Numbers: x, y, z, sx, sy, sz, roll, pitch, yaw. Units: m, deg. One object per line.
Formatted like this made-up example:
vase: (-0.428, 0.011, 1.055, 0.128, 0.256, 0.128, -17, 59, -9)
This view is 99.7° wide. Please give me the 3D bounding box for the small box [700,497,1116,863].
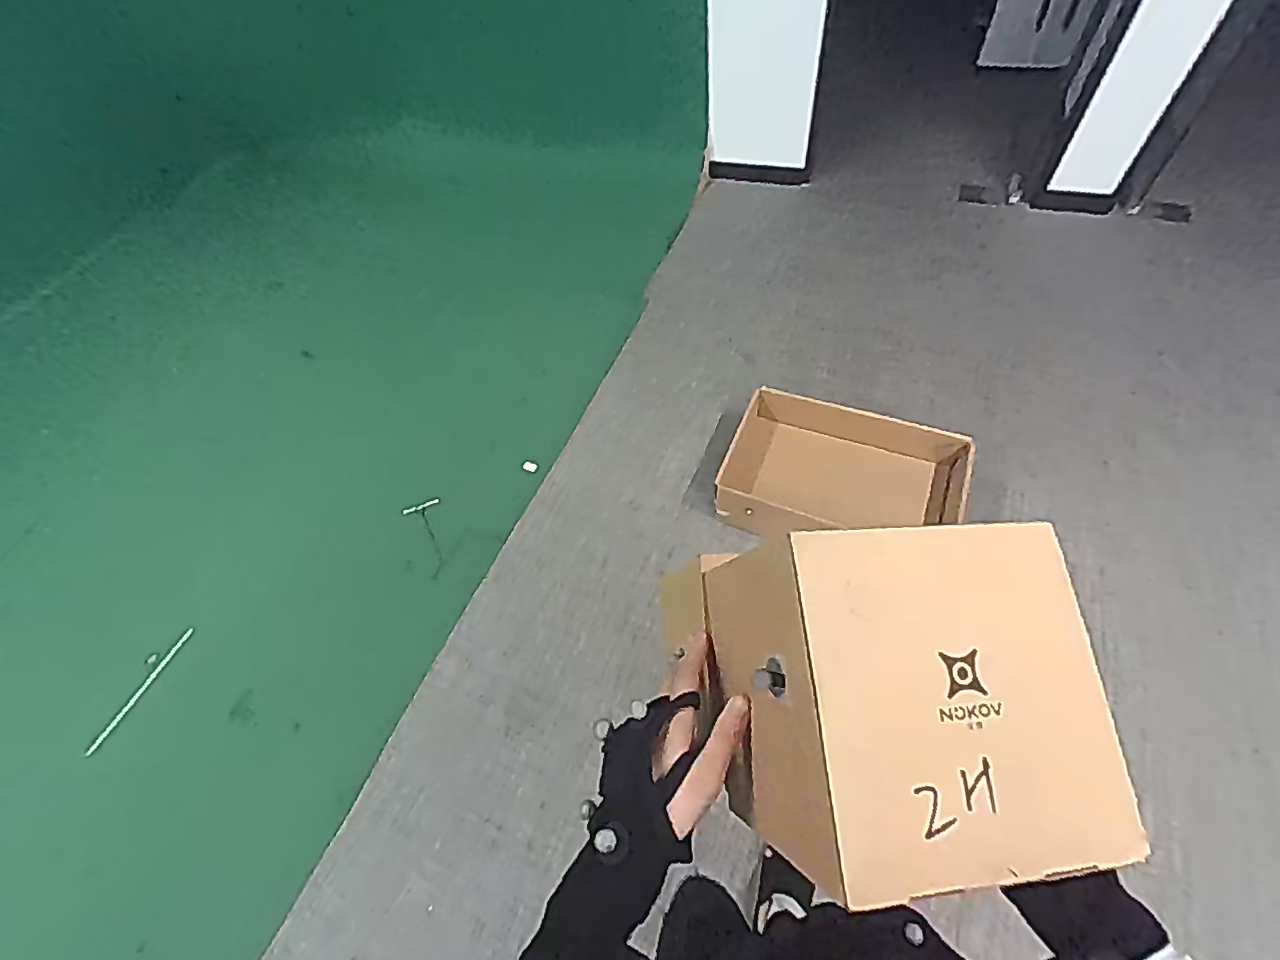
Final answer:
small box: (0.144, 0.118, 0.362, 0.168, 0.176, 0.179, -2, 73, -9)
